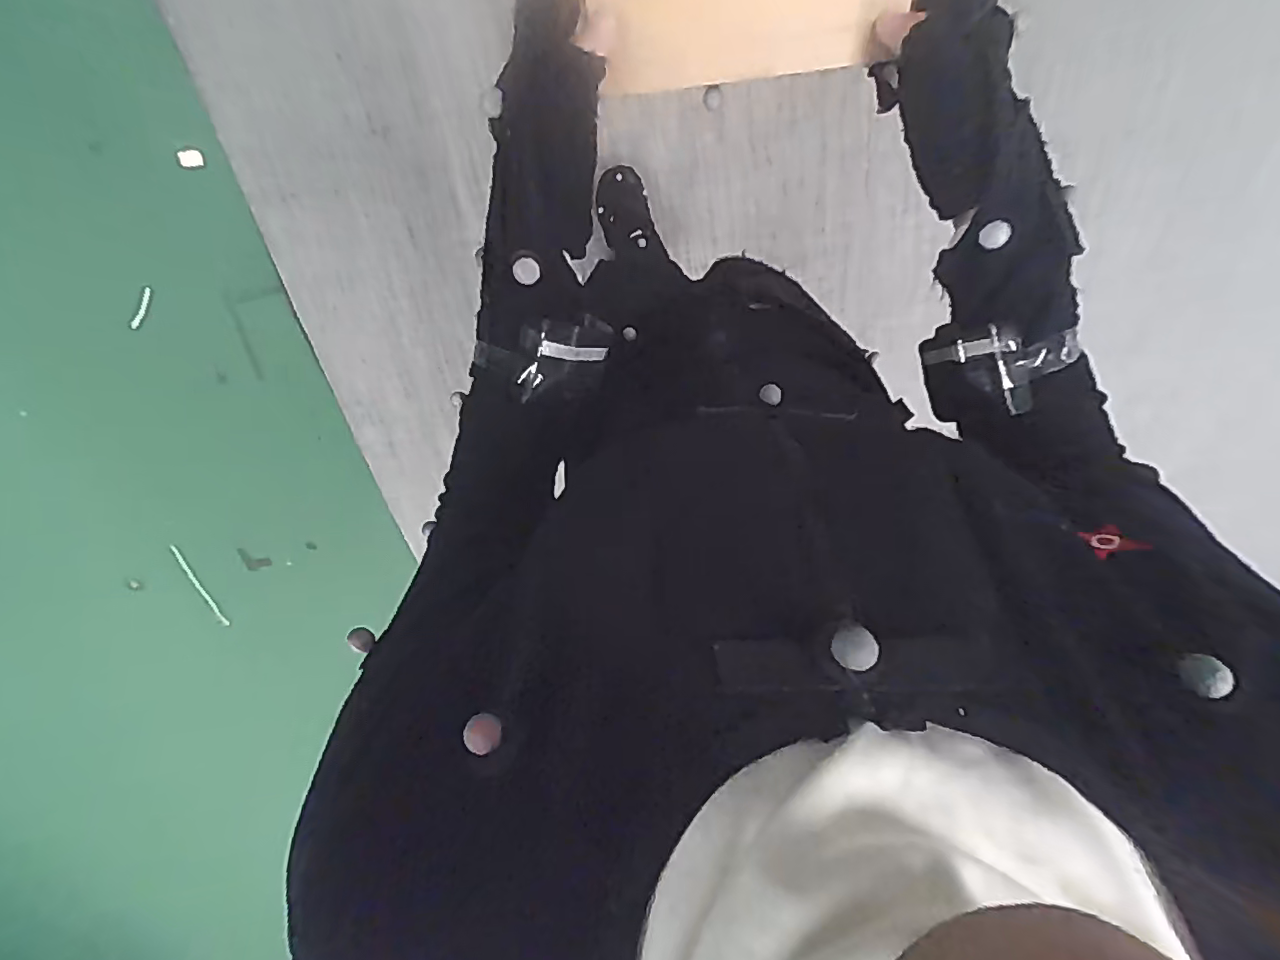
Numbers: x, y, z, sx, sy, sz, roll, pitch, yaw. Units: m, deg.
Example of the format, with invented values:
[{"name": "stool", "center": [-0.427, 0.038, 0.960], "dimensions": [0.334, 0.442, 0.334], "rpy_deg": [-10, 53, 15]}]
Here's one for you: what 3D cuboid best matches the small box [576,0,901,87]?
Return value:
[{"name": "small box", "center": [0.045, -0.343, 0.322], "dimensions": [0.179, 0.176, 0.168], "rpy_deg": [-7, 126, 0]}]
